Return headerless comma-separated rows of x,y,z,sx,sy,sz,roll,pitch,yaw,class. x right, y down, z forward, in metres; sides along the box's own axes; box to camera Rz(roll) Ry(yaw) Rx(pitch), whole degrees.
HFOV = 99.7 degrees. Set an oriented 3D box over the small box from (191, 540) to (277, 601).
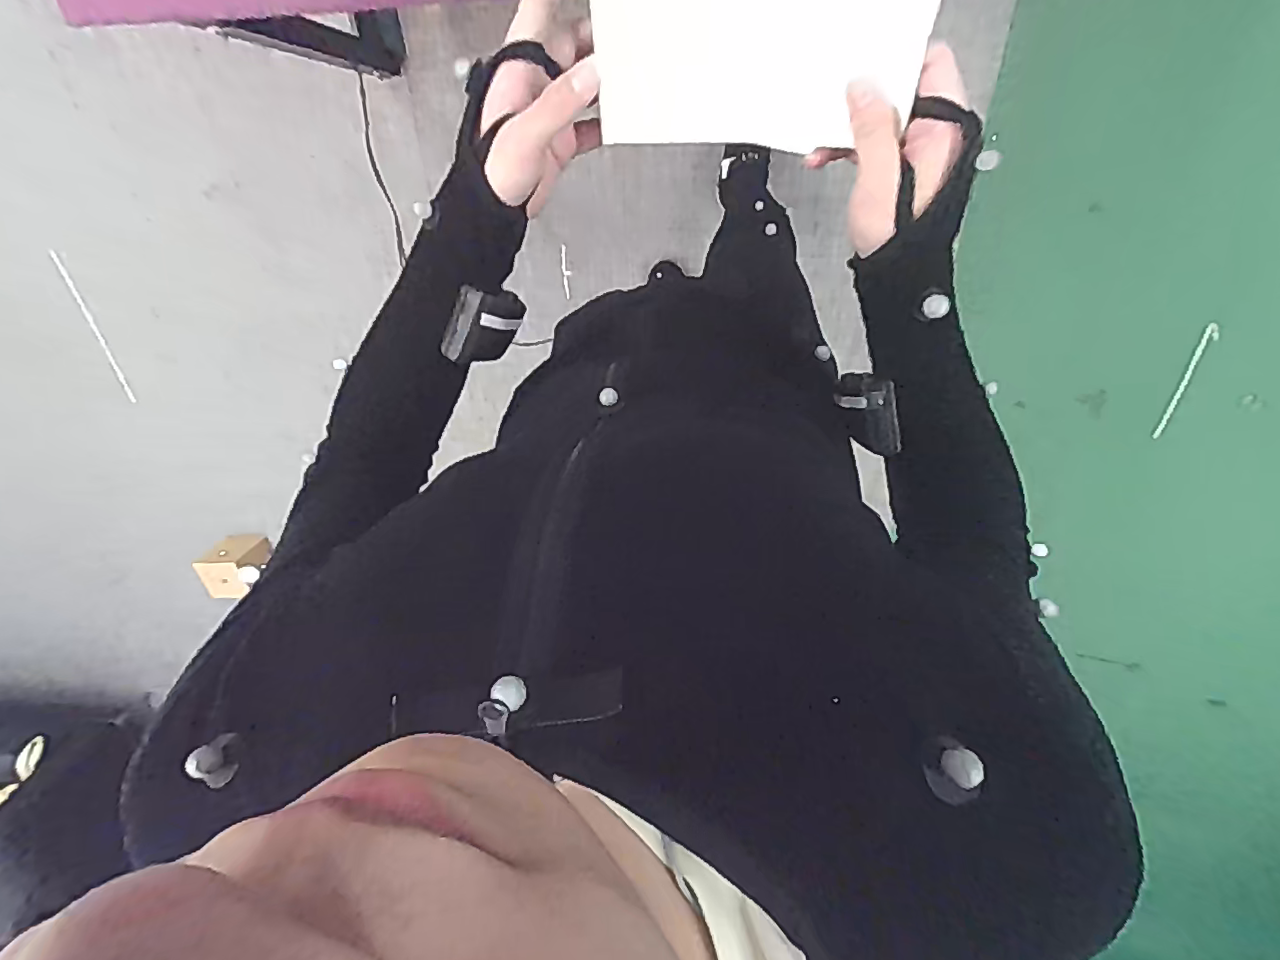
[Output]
-1.507,0.337,2.024,0.179,0.176,0.168,-2,118,8,small box
